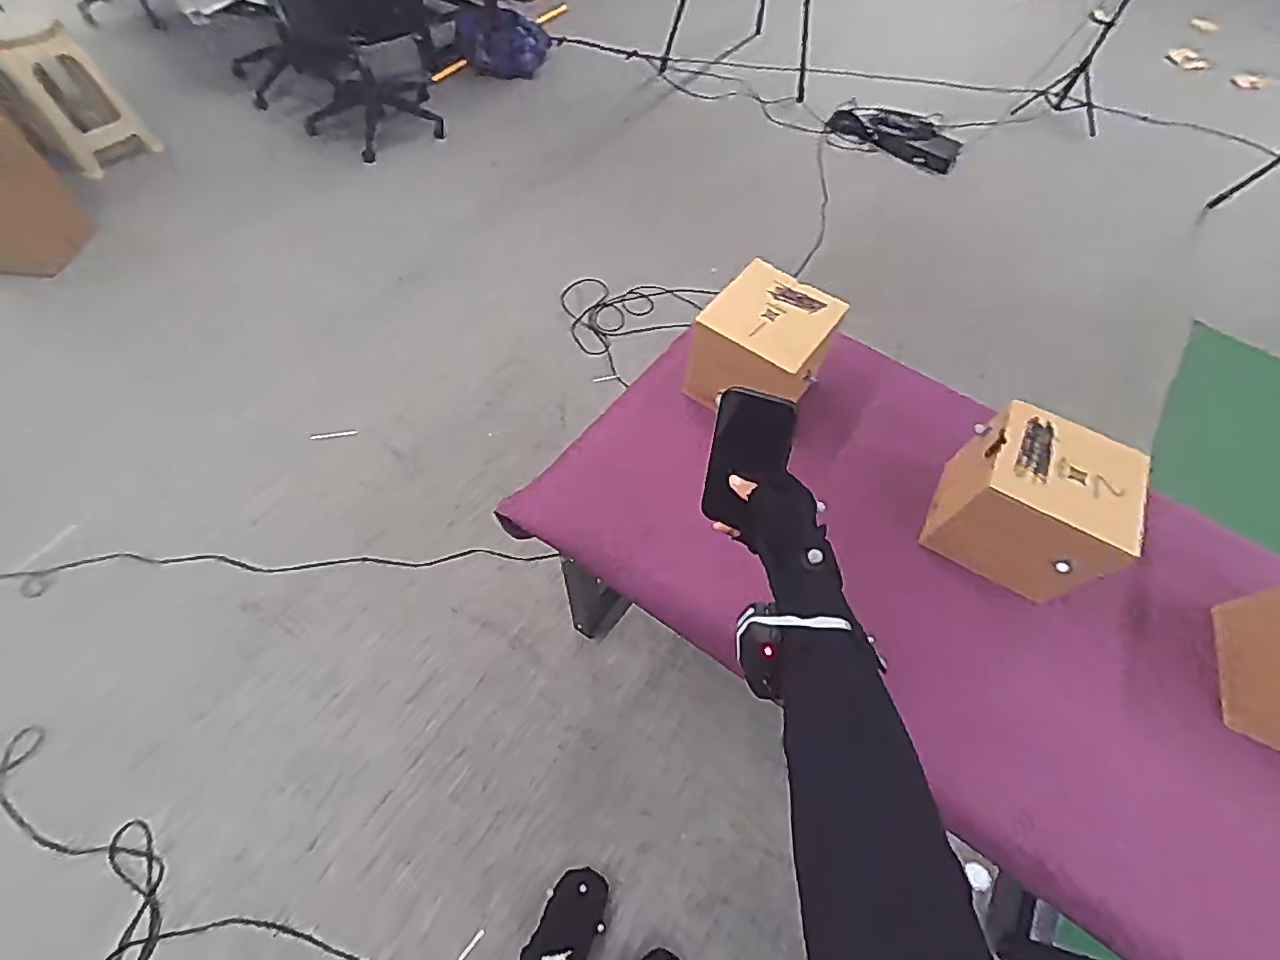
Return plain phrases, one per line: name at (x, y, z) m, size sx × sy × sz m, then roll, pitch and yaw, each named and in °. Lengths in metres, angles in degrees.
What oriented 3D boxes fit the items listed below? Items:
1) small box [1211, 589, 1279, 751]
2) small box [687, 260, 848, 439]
small box at (0.837, 0.239, 0.633) m, size 0.168 × 0.176 × 0.179 m, roll 24°, pitch 60°, yaw 11°
small box at (0.188, -0.201, 0.851) m, size 0.168 × 0.176 × 0.179 m, roll 35°, pitch 65°, yaw 16°
